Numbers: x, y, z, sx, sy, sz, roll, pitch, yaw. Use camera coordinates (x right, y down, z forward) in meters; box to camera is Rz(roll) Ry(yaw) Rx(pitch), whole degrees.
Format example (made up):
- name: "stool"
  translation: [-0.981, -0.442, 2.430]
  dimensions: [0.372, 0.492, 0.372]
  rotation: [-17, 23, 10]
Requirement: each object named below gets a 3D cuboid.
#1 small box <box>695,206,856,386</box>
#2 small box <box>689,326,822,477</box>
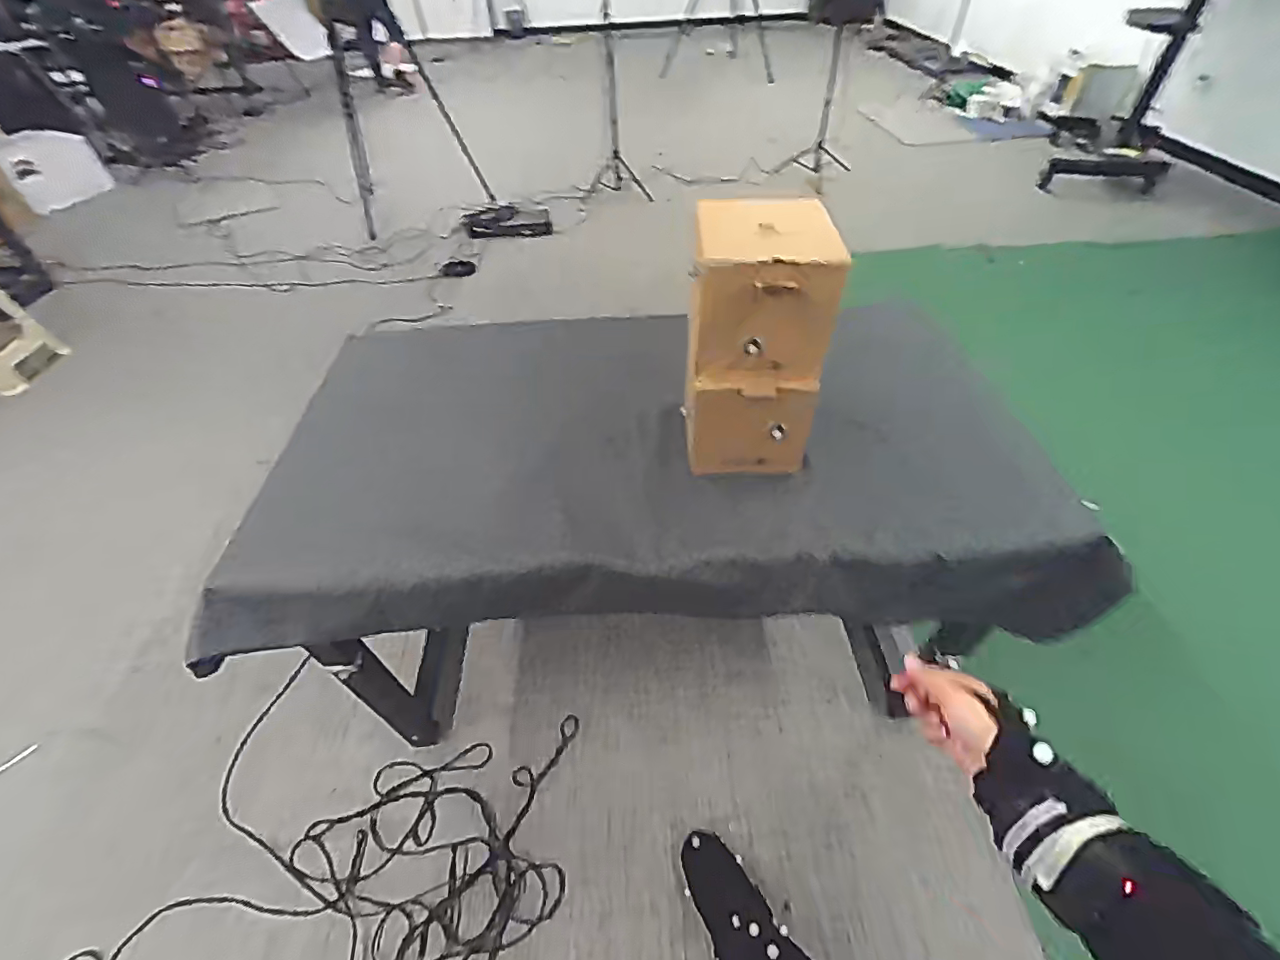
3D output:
- name: "small box"
  translation: [0.162, -0.241, 0.714]
  dimensions: [0.168, 0.176, 0.179]
  rotation: [1, 48, 2]
- name: "small box"
  translation: [0.162, -0.118, 0.822]
  dimensions: [0.168, 0.176, 0.179]
  rotation: [0, 46, 1]
